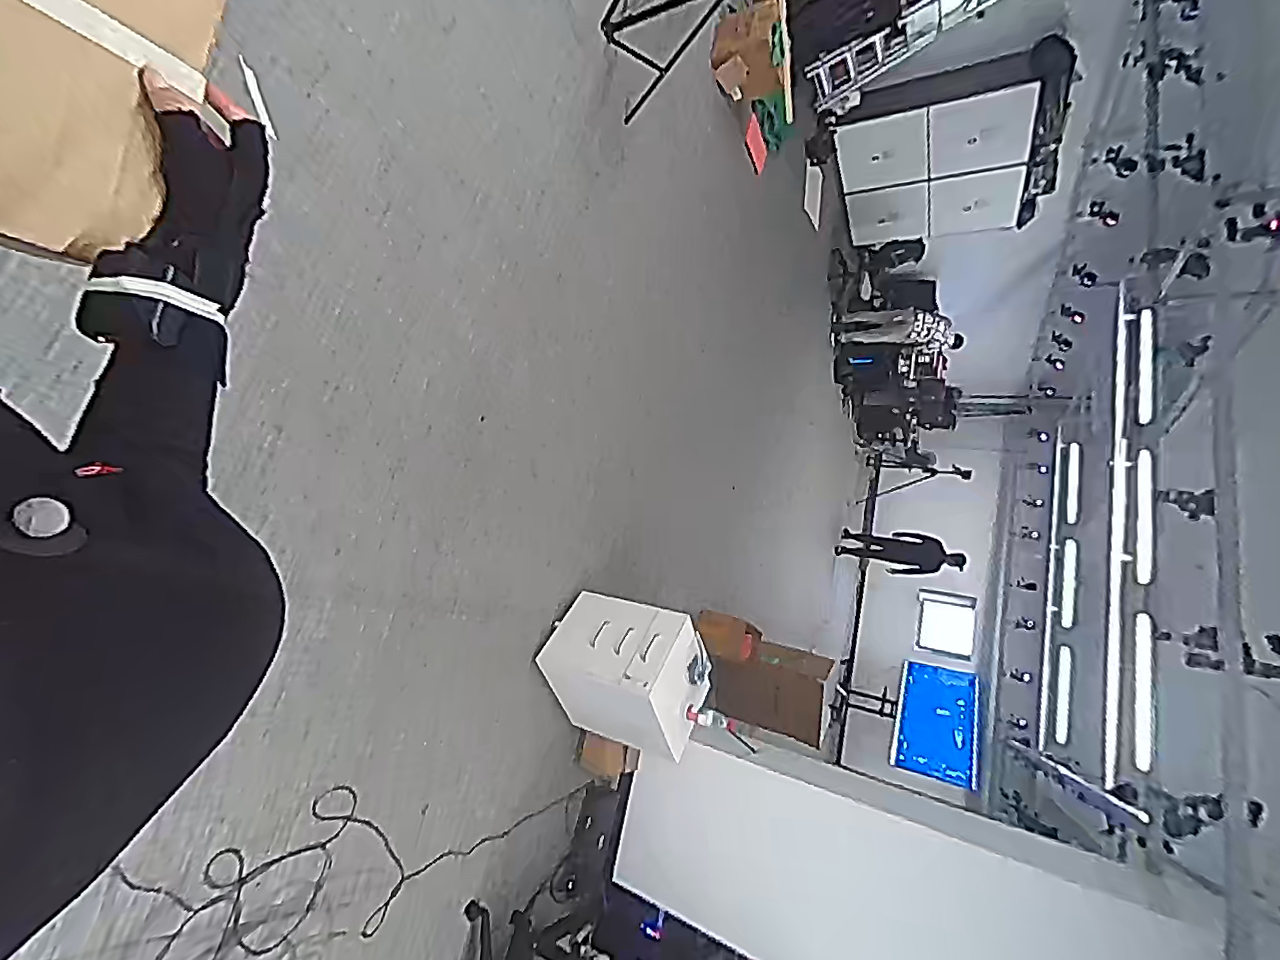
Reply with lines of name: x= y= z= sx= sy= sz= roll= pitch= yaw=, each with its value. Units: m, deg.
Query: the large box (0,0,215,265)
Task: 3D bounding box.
large box: x=-0.582 y=-0.377 z=0.339 sx=0.408 sy=0.320 sz=0.320 roll=10 pitch=98 yaw=-61
